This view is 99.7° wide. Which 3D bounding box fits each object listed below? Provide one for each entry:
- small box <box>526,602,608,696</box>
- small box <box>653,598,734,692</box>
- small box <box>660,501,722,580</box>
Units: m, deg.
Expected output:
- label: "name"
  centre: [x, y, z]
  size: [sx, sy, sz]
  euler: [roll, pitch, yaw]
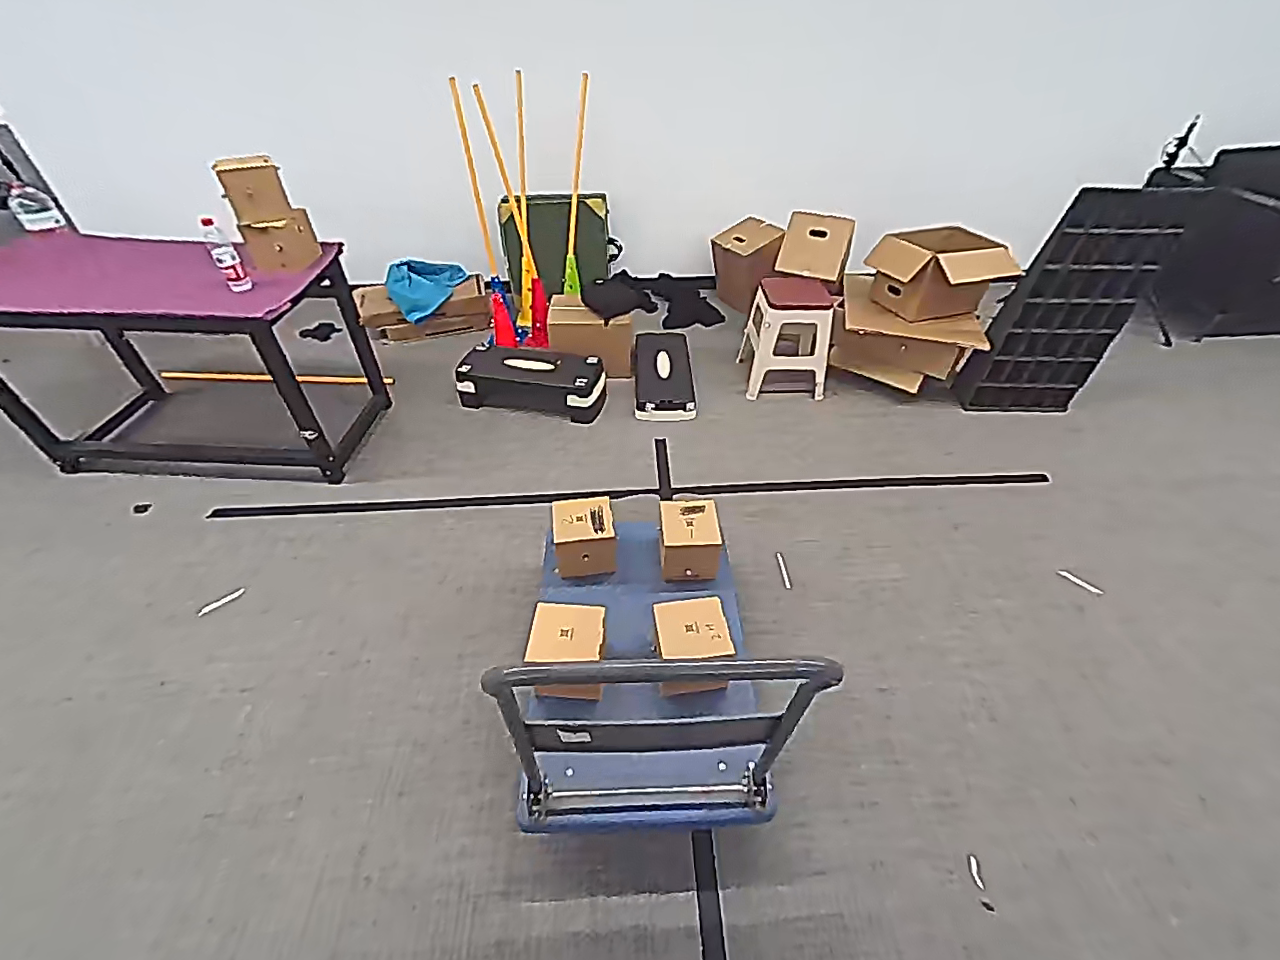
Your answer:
- label: "small box"
  centre: [-0.177, 0.430, 1.372]
  size: [0.179, 0.176, 0.168]
  euler: [4, 43, 1]
- label: "small box"
  centre: [0.129, 0.424, 1.383]
  size: [0.179, 0.176, 0.168]
  euler: [-5, 44, -6]
- label: "small box"
  centre: [0.149, 0.184, 1.639]
  size: [0.168, 0.176, 0.179]
  euler: [-1, 44, -2]
